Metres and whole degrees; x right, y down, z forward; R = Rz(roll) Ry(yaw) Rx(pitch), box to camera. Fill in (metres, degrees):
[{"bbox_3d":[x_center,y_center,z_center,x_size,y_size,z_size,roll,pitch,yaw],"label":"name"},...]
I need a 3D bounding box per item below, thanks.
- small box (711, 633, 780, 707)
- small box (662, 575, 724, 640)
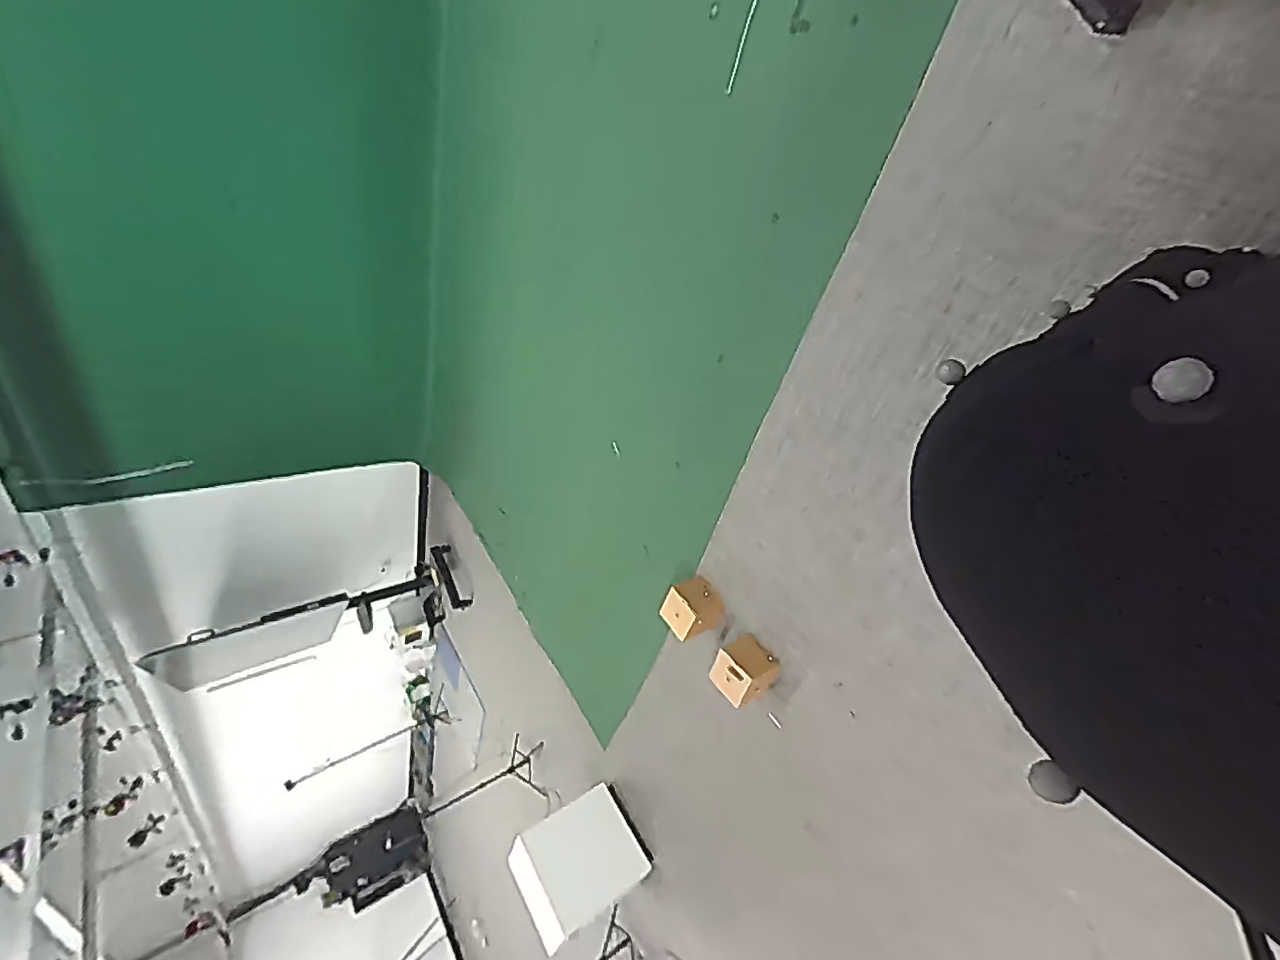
[{"bbox_3d":[0.405,0.717,2.058,0.168,0.176,0.179,42,131,38],"label":"small box"},{"bbox_3d":[0.222,0.525,2.244,0.168,0.176,0.179,47,132,33],"label":"small box"}]
